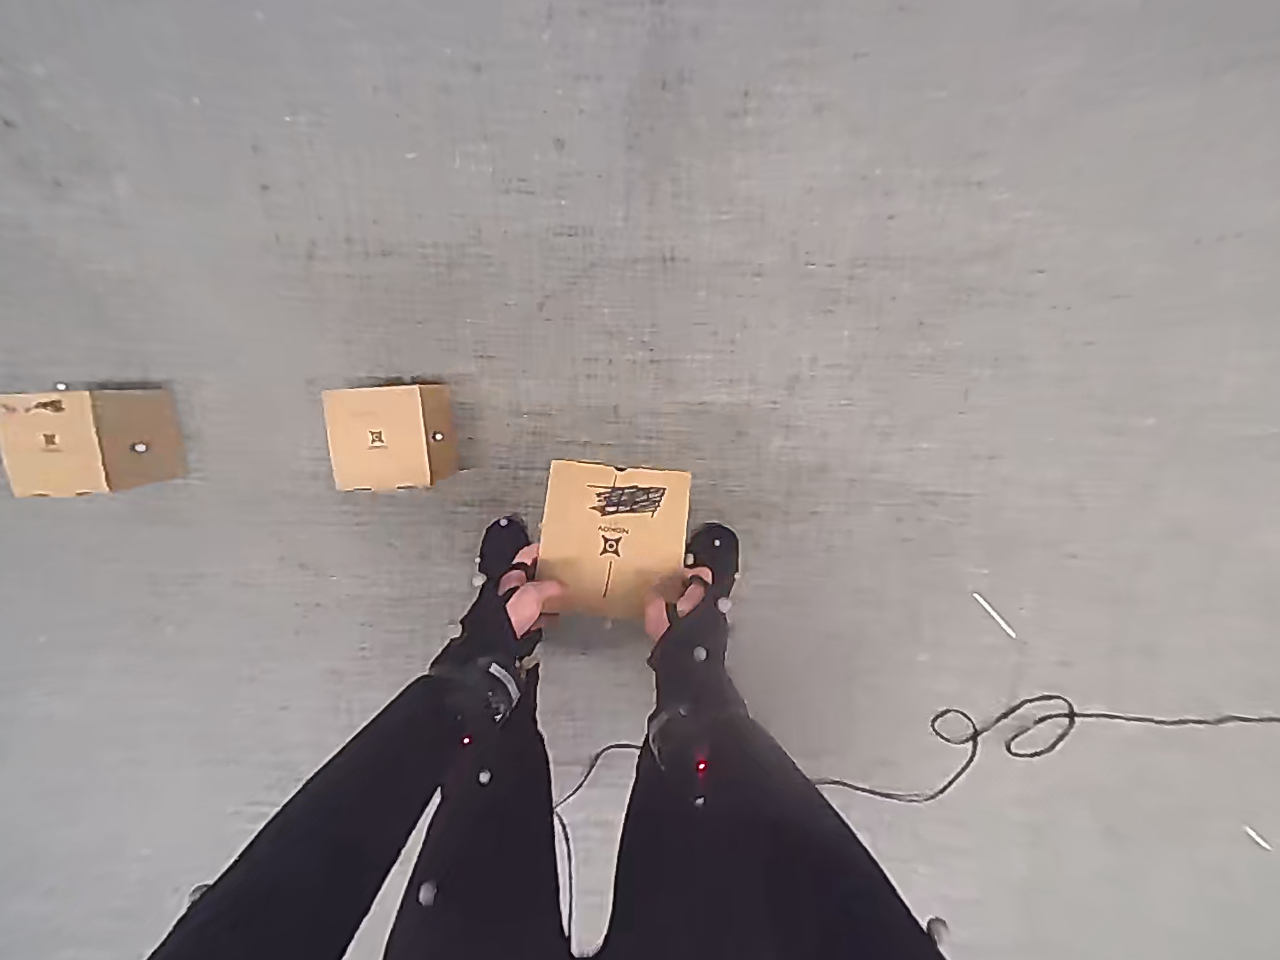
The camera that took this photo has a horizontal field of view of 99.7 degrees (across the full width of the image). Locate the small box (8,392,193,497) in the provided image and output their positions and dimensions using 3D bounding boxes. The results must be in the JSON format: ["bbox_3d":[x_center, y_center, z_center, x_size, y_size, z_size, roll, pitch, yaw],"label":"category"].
[{"bbox_3d":[-0.985,-0.072,1.007,0.168,0.176,0.179,-2,101,0],"label":"small box"}]

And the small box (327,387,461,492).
[{"bbox_3d":[-0.443,-0.081,1.003,0.168,0.176,0.179,-4,99,0],"label":"small box"}]

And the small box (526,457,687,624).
[{"bbox_3d":[-0.034,0.084,0.693,0.168,0.176,0.179,6,77,4],"label":"small box"}]
